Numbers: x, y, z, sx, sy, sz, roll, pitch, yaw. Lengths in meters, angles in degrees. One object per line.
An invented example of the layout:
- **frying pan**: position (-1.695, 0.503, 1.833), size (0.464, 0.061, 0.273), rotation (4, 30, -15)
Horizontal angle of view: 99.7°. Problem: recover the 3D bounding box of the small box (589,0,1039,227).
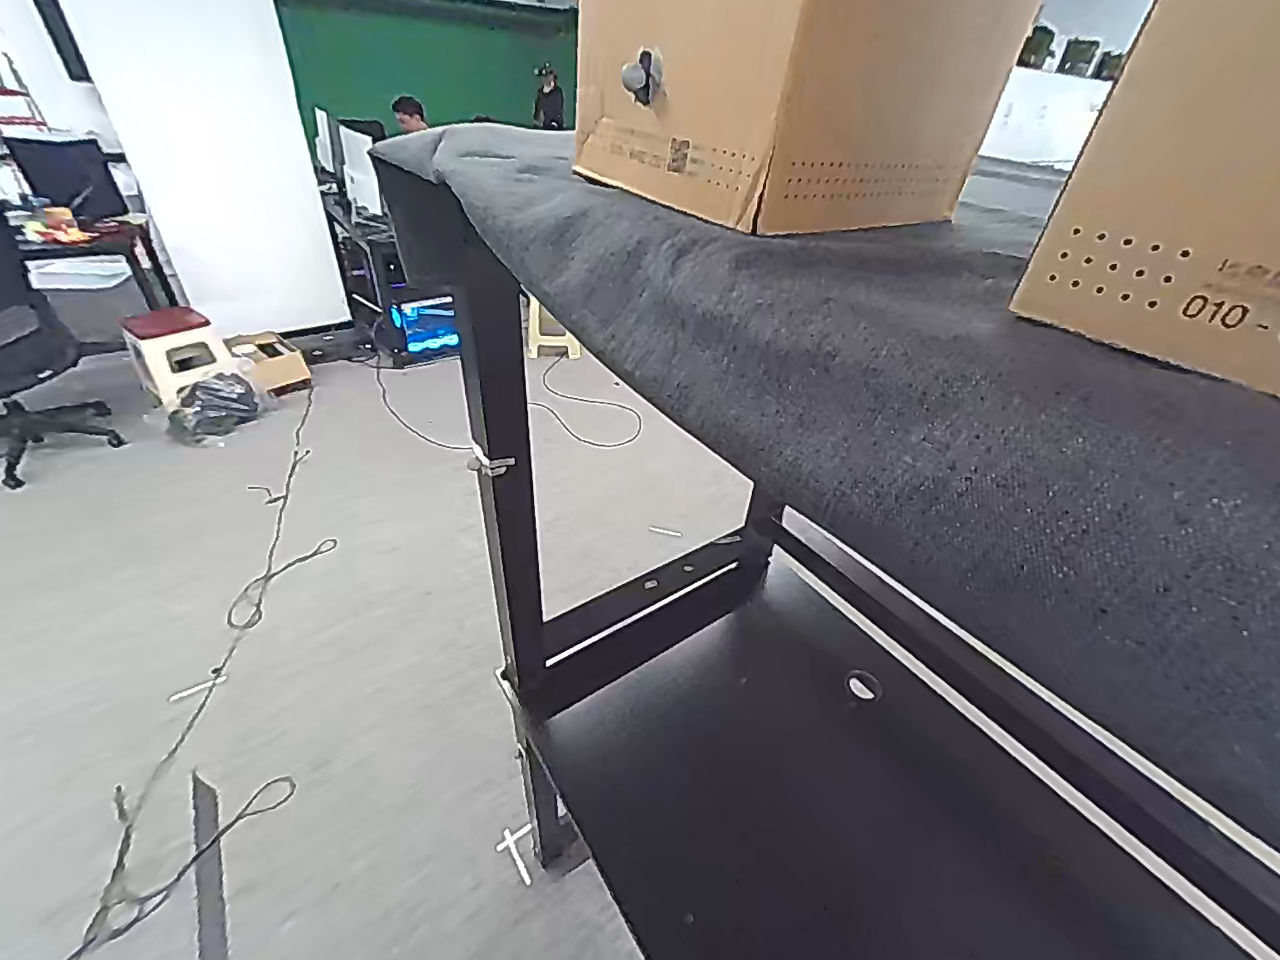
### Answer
- **small box**: position (0.086, -0.245, 0.288), size (0.179, 0.176, 0.168), rotation (-20, 44, -31)
